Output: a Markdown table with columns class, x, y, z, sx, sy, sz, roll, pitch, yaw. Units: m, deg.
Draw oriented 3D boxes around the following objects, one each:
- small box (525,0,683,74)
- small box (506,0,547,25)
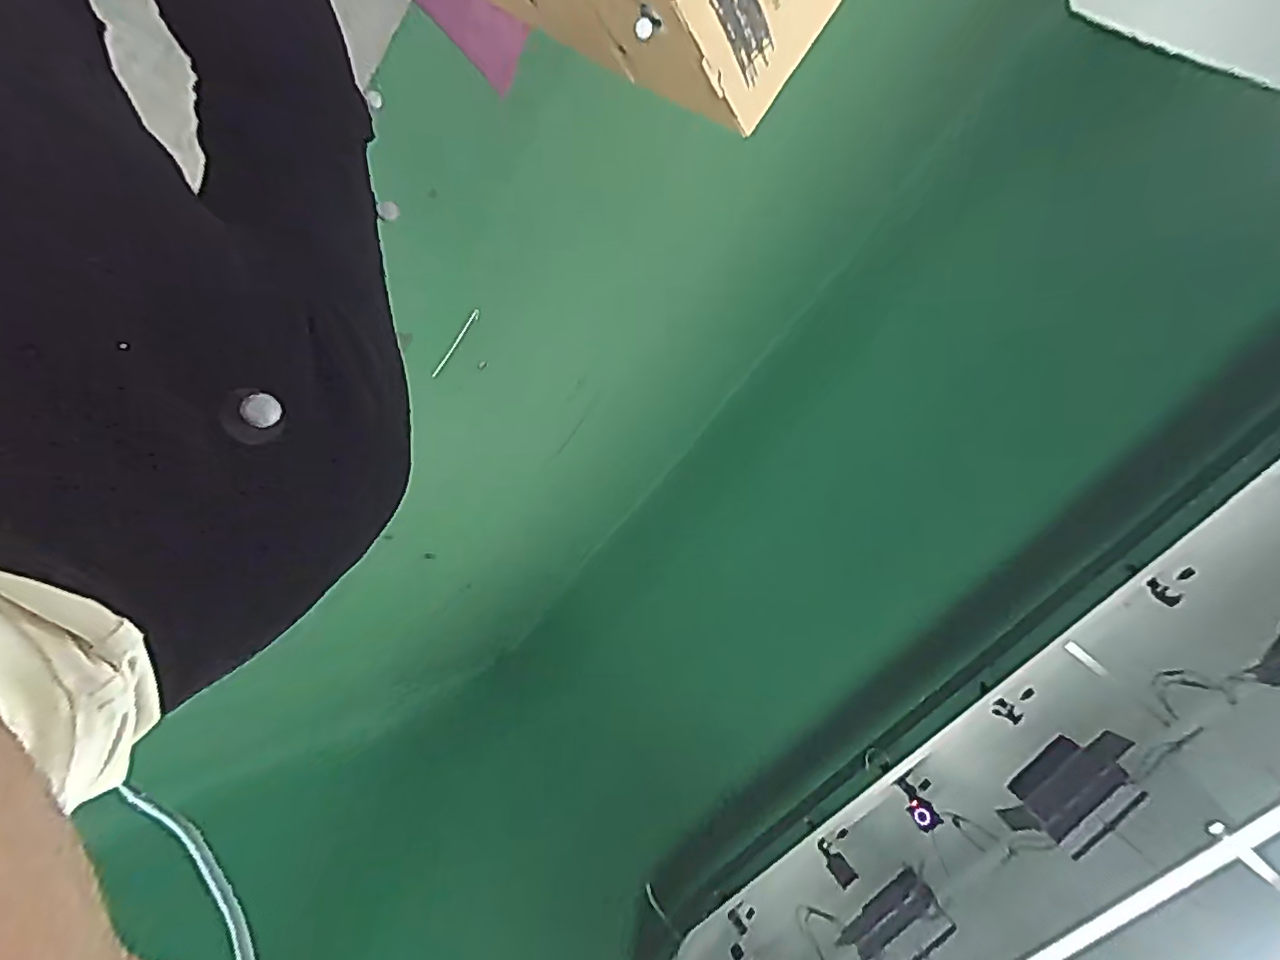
| class | x | y | z | sx | sy | sz | roll | pitch | yaw |
| --- | --- | --- | --- | --- | --- | --- | --- | --- | --- |
| small box | -0.045 | -0.573 | 0.540 | 0.179 | 0.176 | 0.168 | -49 | 156 | 13 |
| small box | -0.153 | -0.679 | 0.601 | 0.168 | 0.176 | 0.179 | -50 | 157 | 13 |
